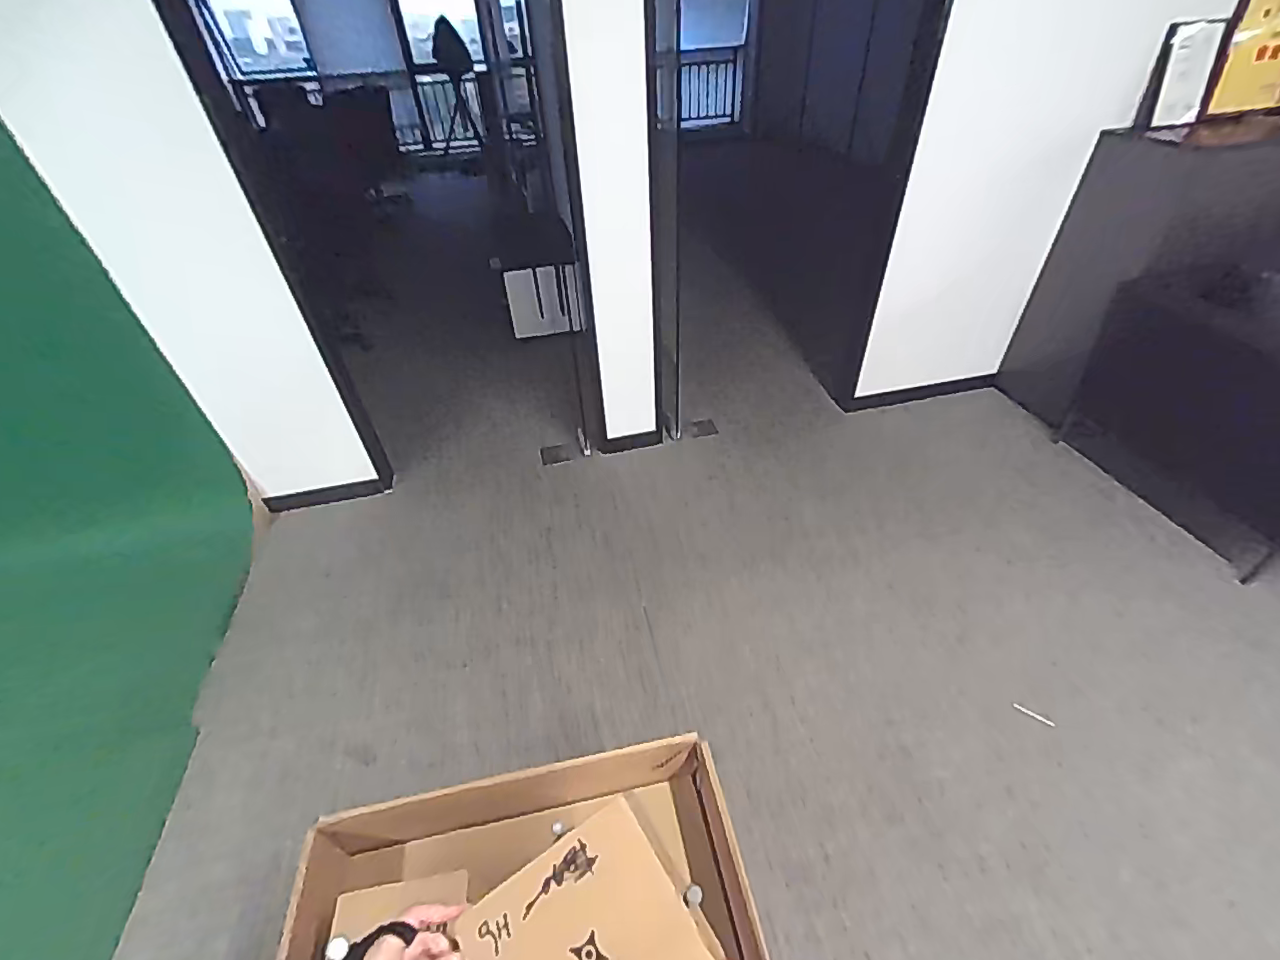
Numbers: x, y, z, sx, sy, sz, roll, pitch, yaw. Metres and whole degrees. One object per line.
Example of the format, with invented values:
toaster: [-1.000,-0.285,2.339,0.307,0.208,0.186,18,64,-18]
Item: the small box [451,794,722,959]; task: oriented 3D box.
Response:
small box: [-0.034,0.413,0.487,0.168,0.176,0.179,-32,64,-14]
